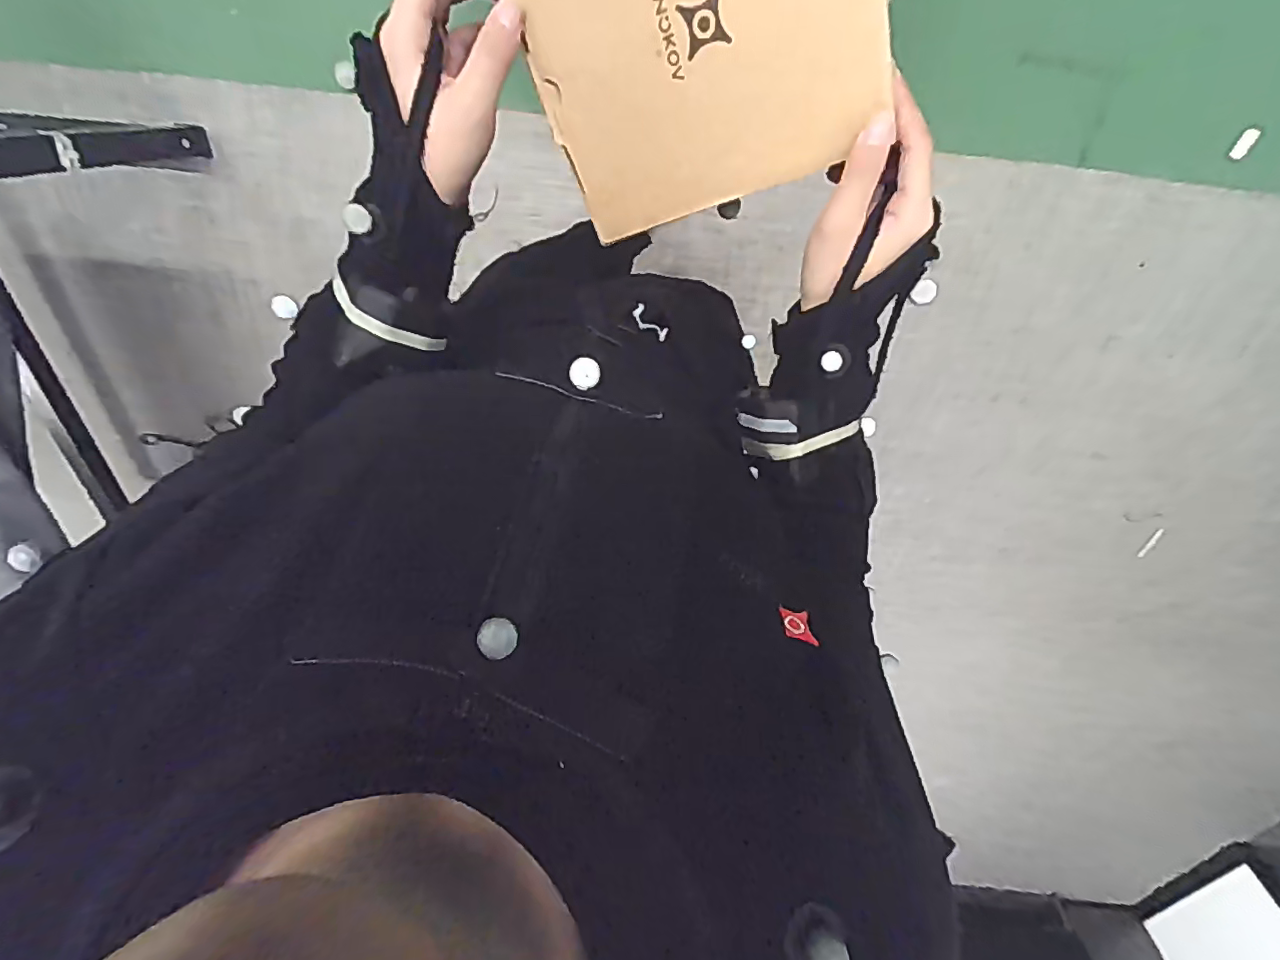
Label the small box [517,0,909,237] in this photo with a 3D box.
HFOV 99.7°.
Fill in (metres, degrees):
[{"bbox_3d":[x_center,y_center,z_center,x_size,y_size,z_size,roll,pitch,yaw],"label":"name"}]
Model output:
[{"bbox_3d":[0.044,-0.278,0.323,0.179,0.176,0.168,-10,127,21],"label":"small box"}]
